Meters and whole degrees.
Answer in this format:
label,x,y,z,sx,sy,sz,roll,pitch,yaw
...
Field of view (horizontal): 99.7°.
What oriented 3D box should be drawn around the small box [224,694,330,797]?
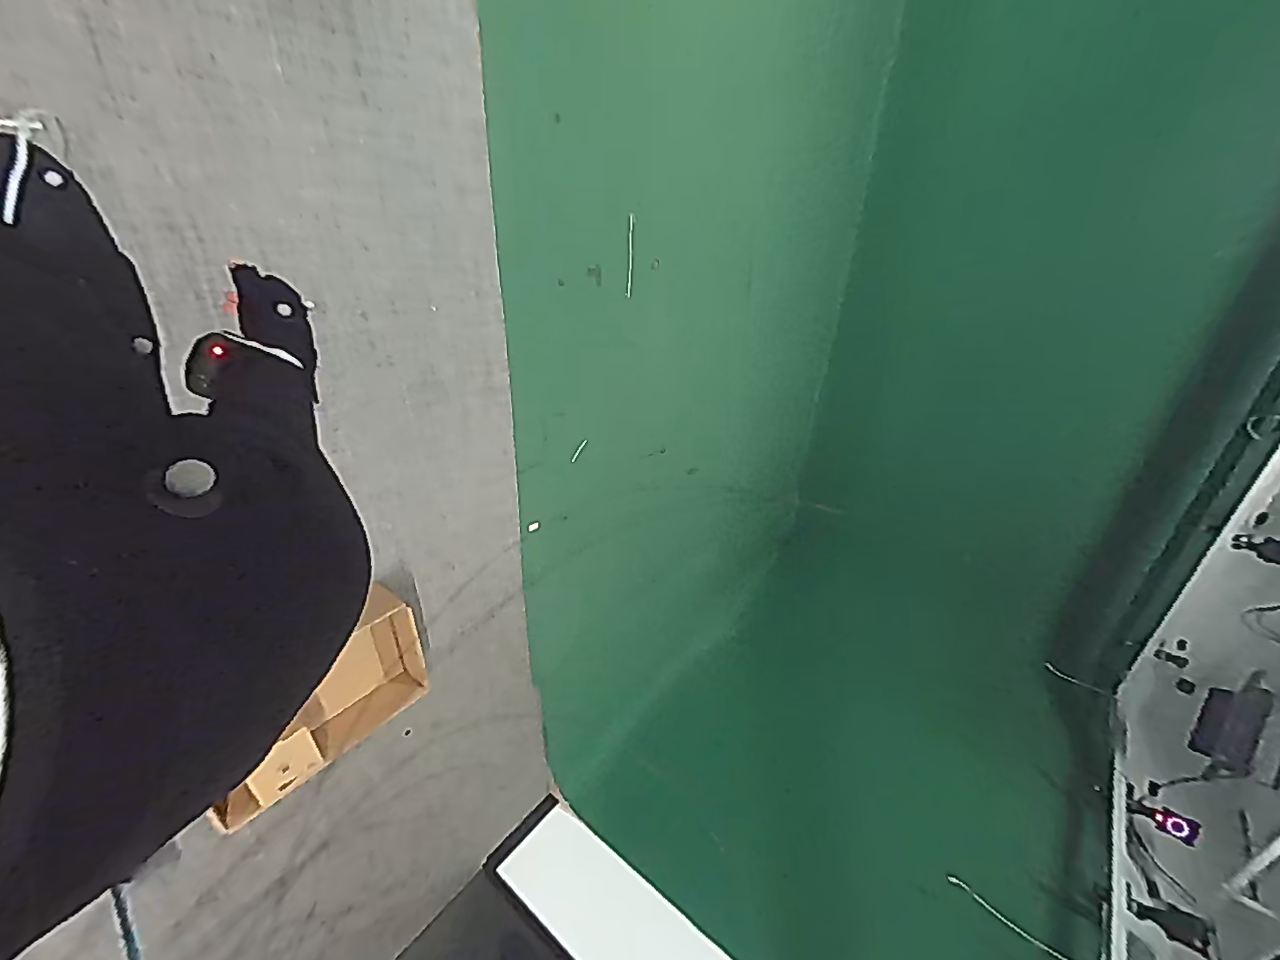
label,x,y,z,sx,sy,sz,roll,pitch,yaw
small box,-1.022,0.734,1.521,0.168,0.176,0.179,-37,138,-41
